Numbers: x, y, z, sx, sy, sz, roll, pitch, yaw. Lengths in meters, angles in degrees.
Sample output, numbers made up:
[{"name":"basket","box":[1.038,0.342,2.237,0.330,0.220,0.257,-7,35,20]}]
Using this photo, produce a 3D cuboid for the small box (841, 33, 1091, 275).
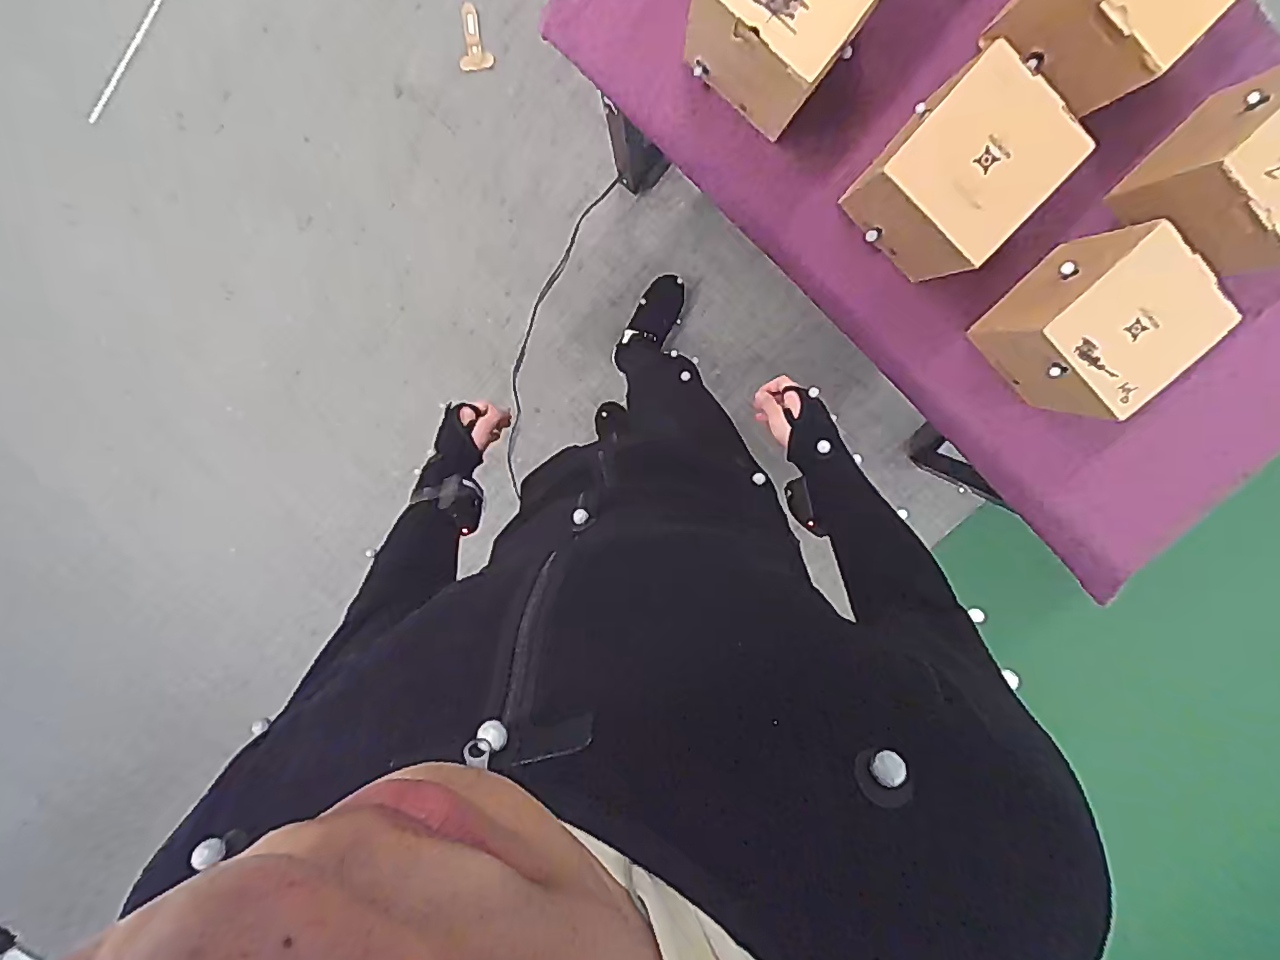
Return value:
[{"name":"small box","box":[0.390,-0.387,0.684,0.168,0.176,0.179,41,103,-7]}]

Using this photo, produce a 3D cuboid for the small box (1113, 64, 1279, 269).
[{"name":"small box","box":[0.763,-0.387,0.669,0.168,0.176,0.179,42,103,-8]}]

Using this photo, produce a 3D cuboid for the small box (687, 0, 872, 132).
[{"name":"small box","box":[0.169,-0.565,0.642,0.168,0.176,0.179,38,101,-8]}]

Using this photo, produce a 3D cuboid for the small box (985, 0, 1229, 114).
[{"name":"small box","box":[0.559,-0.577,0.629,0.168,0.176,0.179,40,104,-8]}]

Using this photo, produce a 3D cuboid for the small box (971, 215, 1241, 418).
[{"name":"small box","box":[0.598,-0.210,0.722,0.168,0.176,0.179,43,101,-8]}]
